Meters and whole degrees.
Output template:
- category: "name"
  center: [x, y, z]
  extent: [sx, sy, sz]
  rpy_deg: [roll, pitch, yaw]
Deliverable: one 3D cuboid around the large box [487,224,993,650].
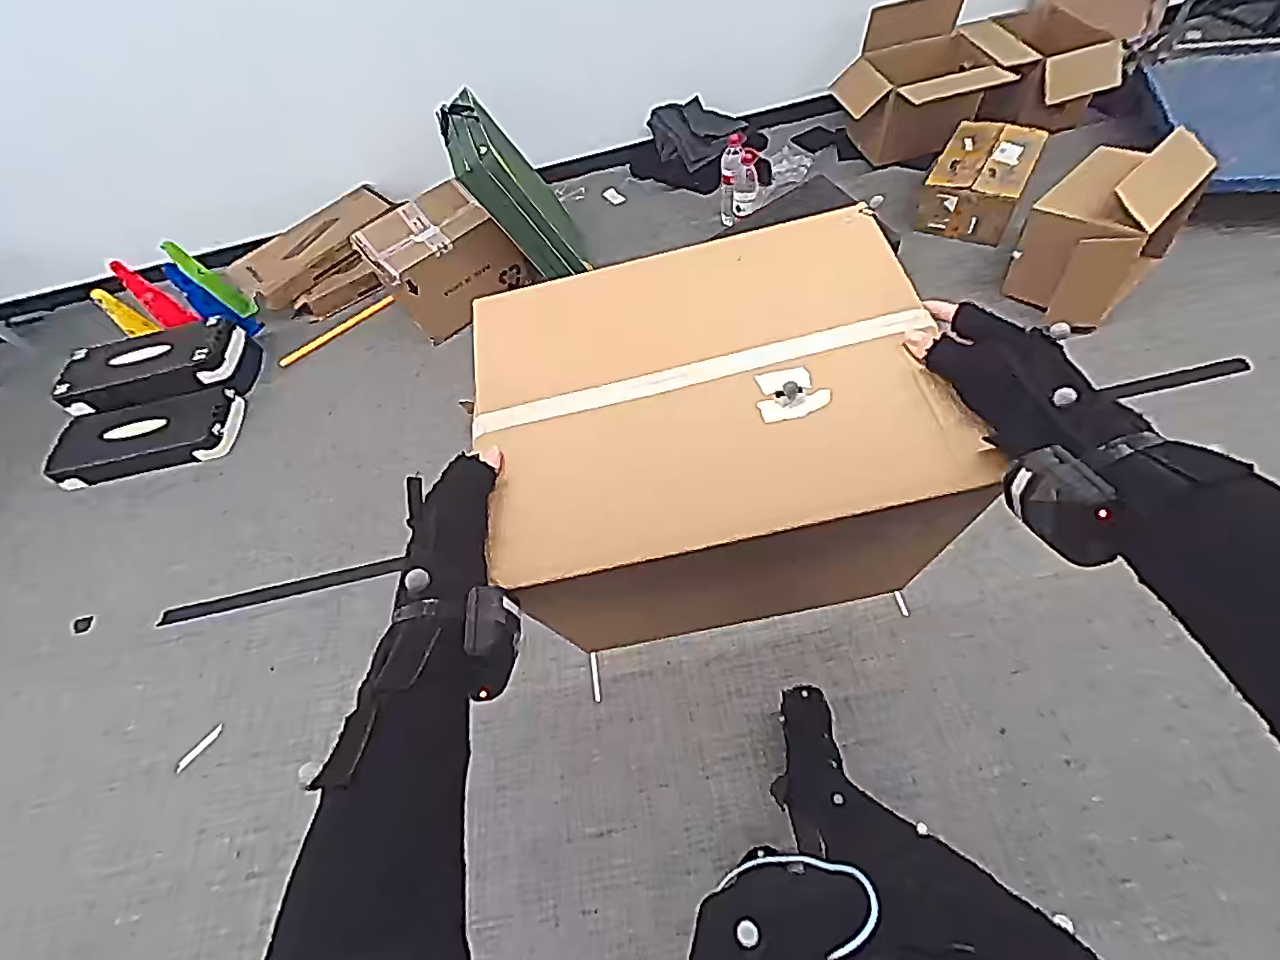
- category: "large box"
  center: [0.077, -0.022, 0.626]
  extent: [0.408, 0.320, 0.320]
  rpy_deg: [-13, 63, 2]
